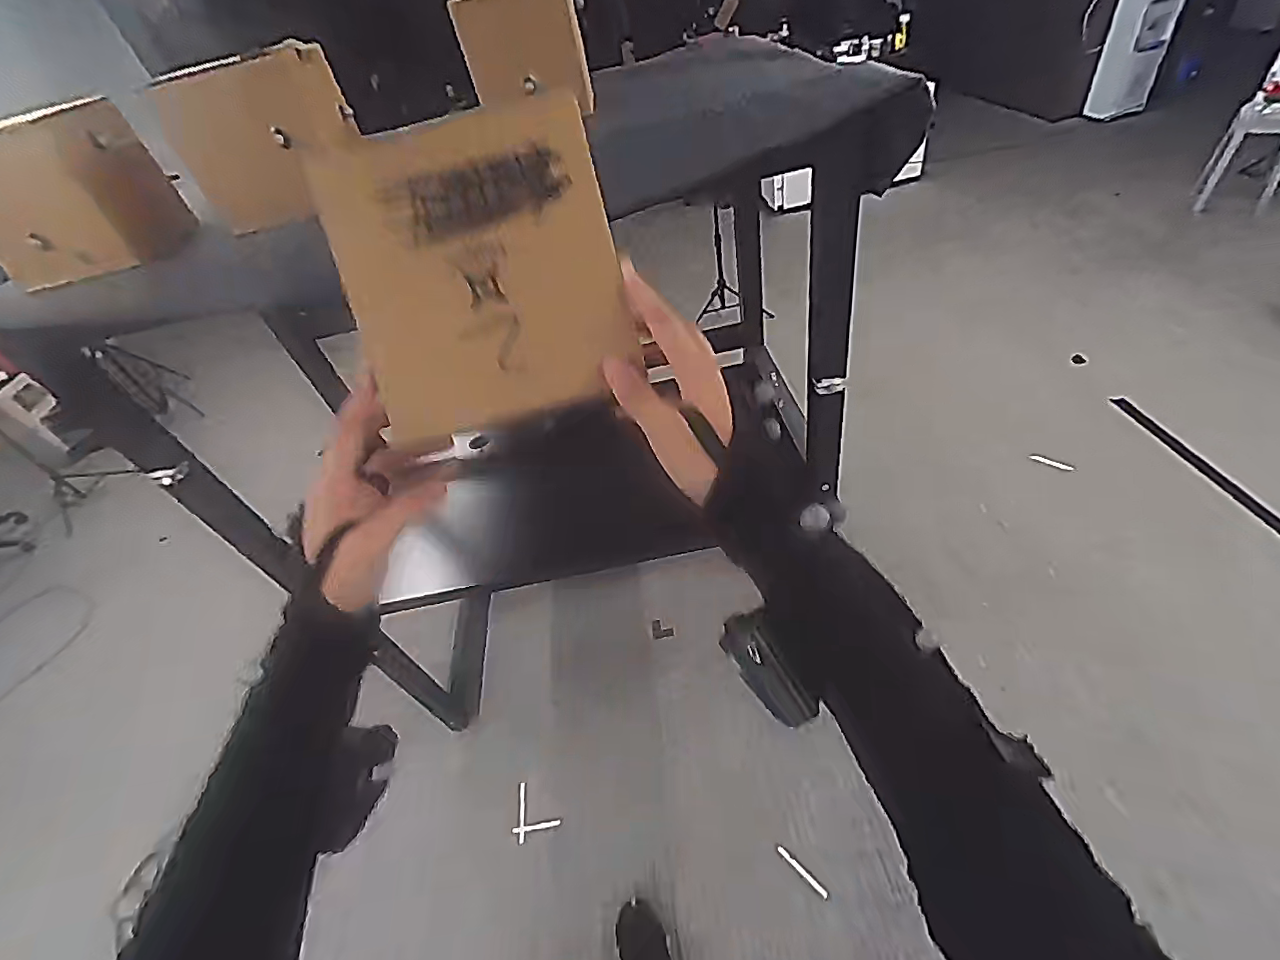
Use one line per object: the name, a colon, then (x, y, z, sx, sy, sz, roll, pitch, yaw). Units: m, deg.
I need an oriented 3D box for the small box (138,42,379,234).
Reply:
small box: (-0.481, -0.454, 0.721, 0.179, 0.176, 0.168, -13, 42, 1)

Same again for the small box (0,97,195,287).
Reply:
small box: (-0.756, -0.383, 0.723, 0.168, 0.176, 0.179, -14, 44, 0)

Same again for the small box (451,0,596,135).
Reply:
small box: (-0.170, -0.667, 0.849, 0.168, 0.176, 0.179, -11, 44, 6)
